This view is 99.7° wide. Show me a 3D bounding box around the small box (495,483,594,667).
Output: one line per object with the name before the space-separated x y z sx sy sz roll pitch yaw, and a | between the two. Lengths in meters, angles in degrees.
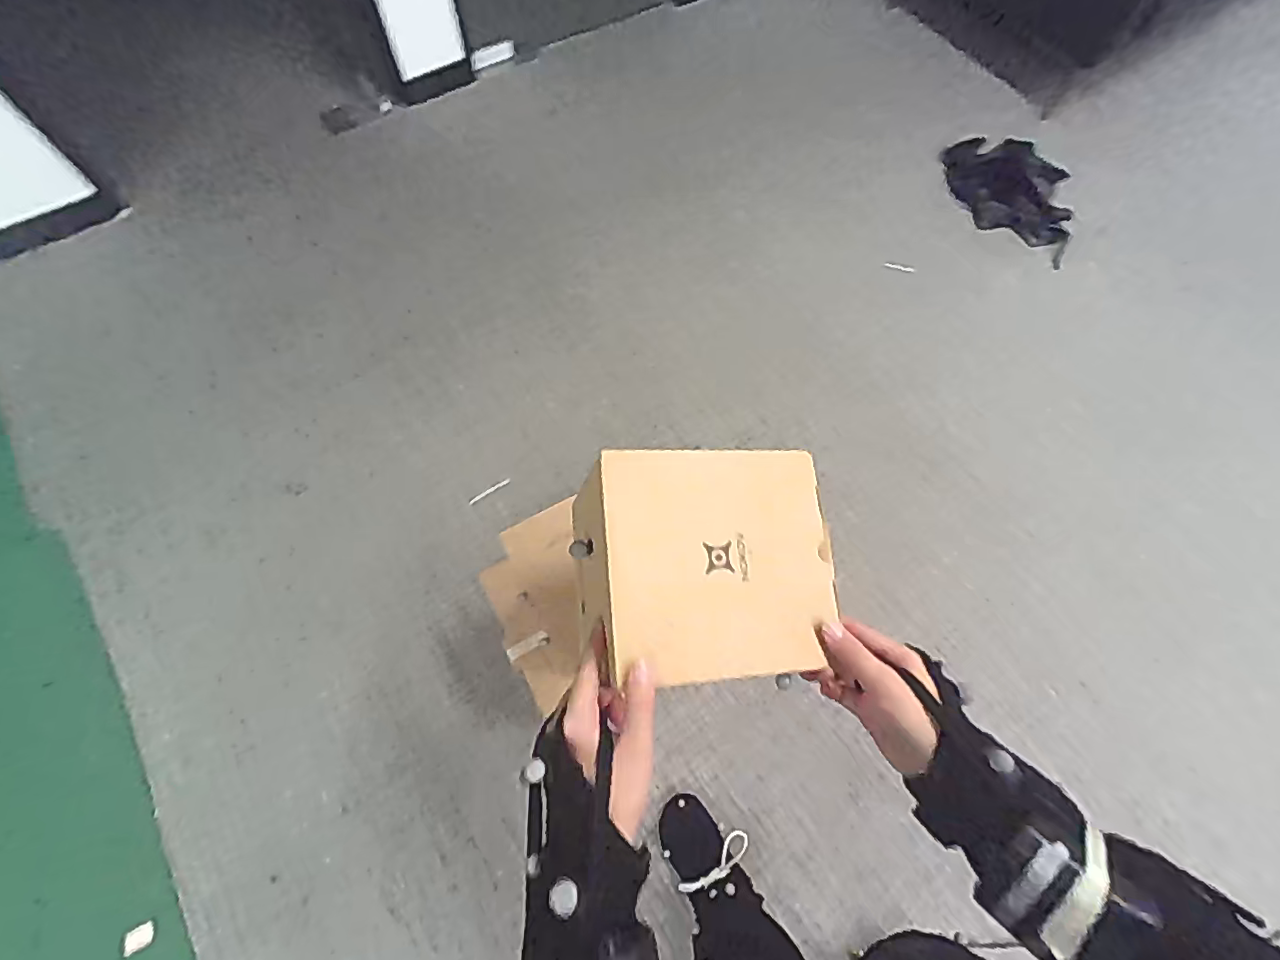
small box | -0.067 0.131 0.716 0.168 0.176 0.179 -28 70 -15

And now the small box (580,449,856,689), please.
small box | 0.045 0.079 0.456 0.179 0.176 0.168 0 74 -16

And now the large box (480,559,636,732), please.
large box | -0.054 0.261 1.104 0.408 0.320 0.320 -27 72 -14
